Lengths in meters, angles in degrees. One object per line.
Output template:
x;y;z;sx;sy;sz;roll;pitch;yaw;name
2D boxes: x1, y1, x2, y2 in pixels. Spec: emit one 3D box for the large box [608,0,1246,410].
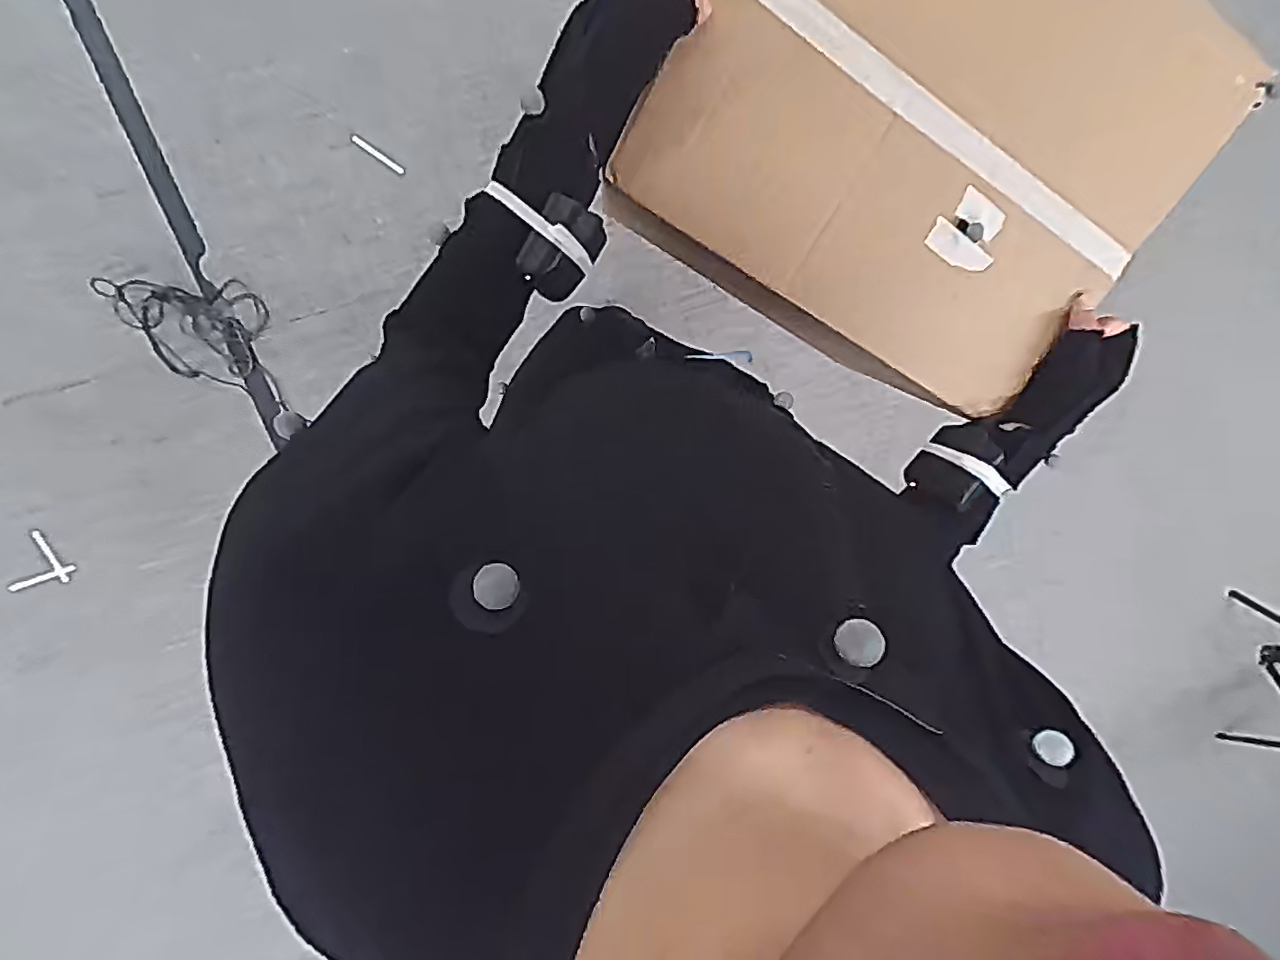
0.213;-0.329;0.550;0.408;0.320;0.320;27;109;-15;large box
